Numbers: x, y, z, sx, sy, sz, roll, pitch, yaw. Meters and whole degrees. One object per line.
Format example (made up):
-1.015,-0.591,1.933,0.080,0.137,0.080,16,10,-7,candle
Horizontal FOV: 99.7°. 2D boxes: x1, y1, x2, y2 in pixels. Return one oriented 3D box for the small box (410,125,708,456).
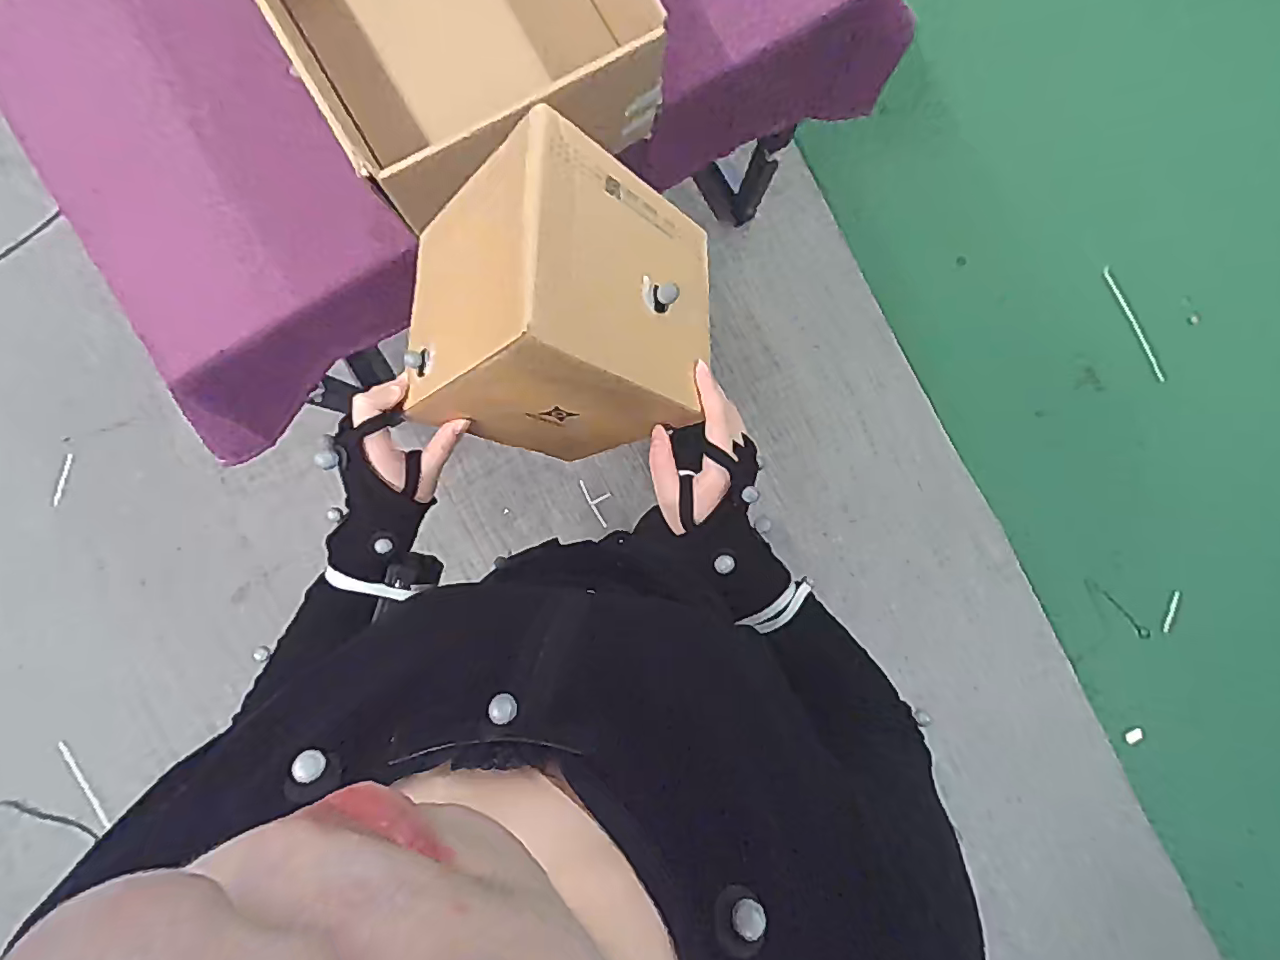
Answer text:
-0.065,-0.131,0.438,0.168,0.179,0.176,14,71,-42,small box
